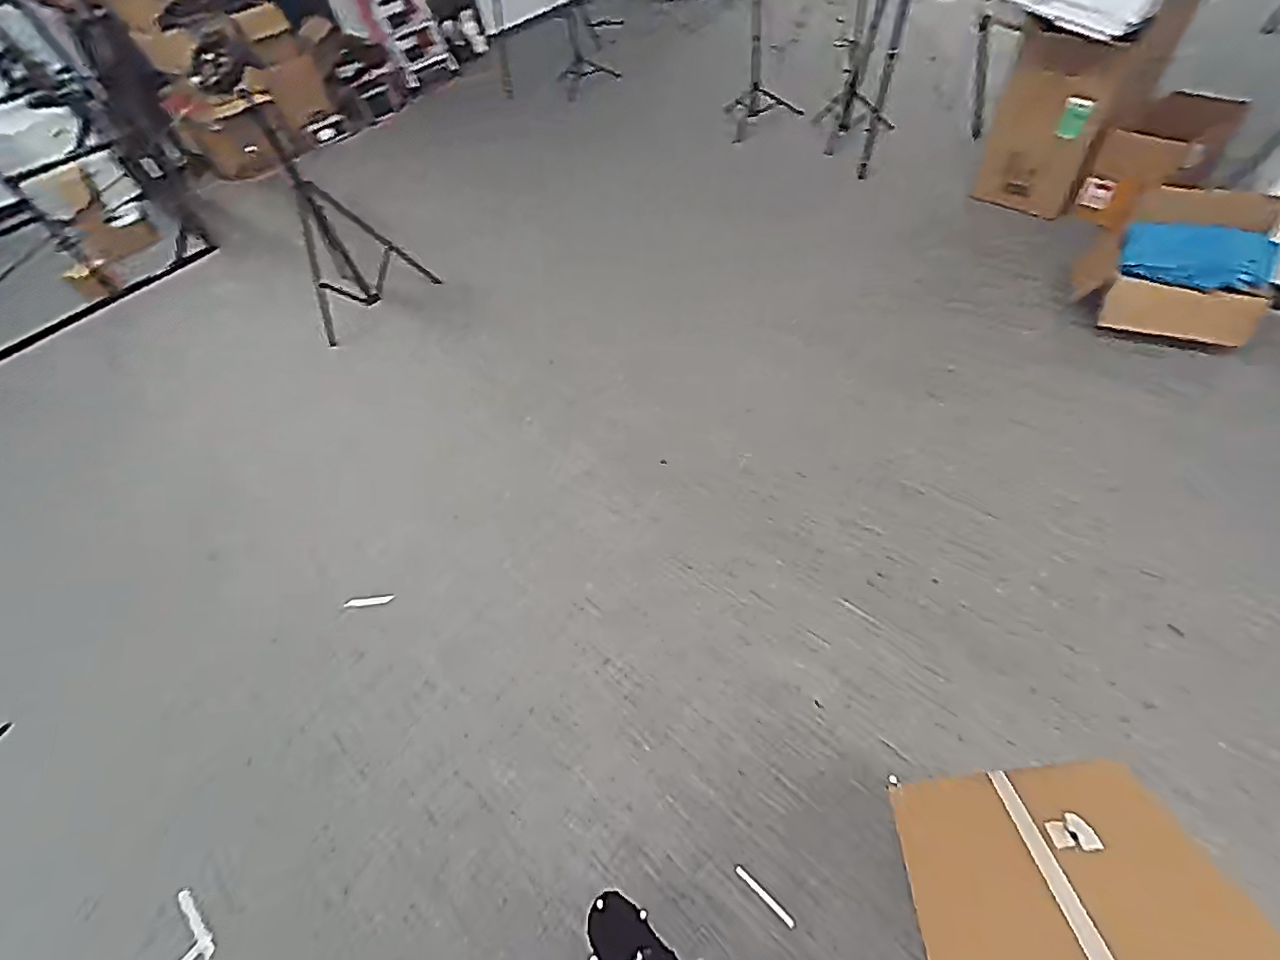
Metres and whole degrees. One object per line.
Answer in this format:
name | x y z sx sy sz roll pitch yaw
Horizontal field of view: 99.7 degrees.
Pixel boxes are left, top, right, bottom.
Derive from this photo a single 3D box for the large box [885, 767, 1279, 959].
large box | 0.524 0.615 0.629 0.320 0.408 0.320 -17 90 16
